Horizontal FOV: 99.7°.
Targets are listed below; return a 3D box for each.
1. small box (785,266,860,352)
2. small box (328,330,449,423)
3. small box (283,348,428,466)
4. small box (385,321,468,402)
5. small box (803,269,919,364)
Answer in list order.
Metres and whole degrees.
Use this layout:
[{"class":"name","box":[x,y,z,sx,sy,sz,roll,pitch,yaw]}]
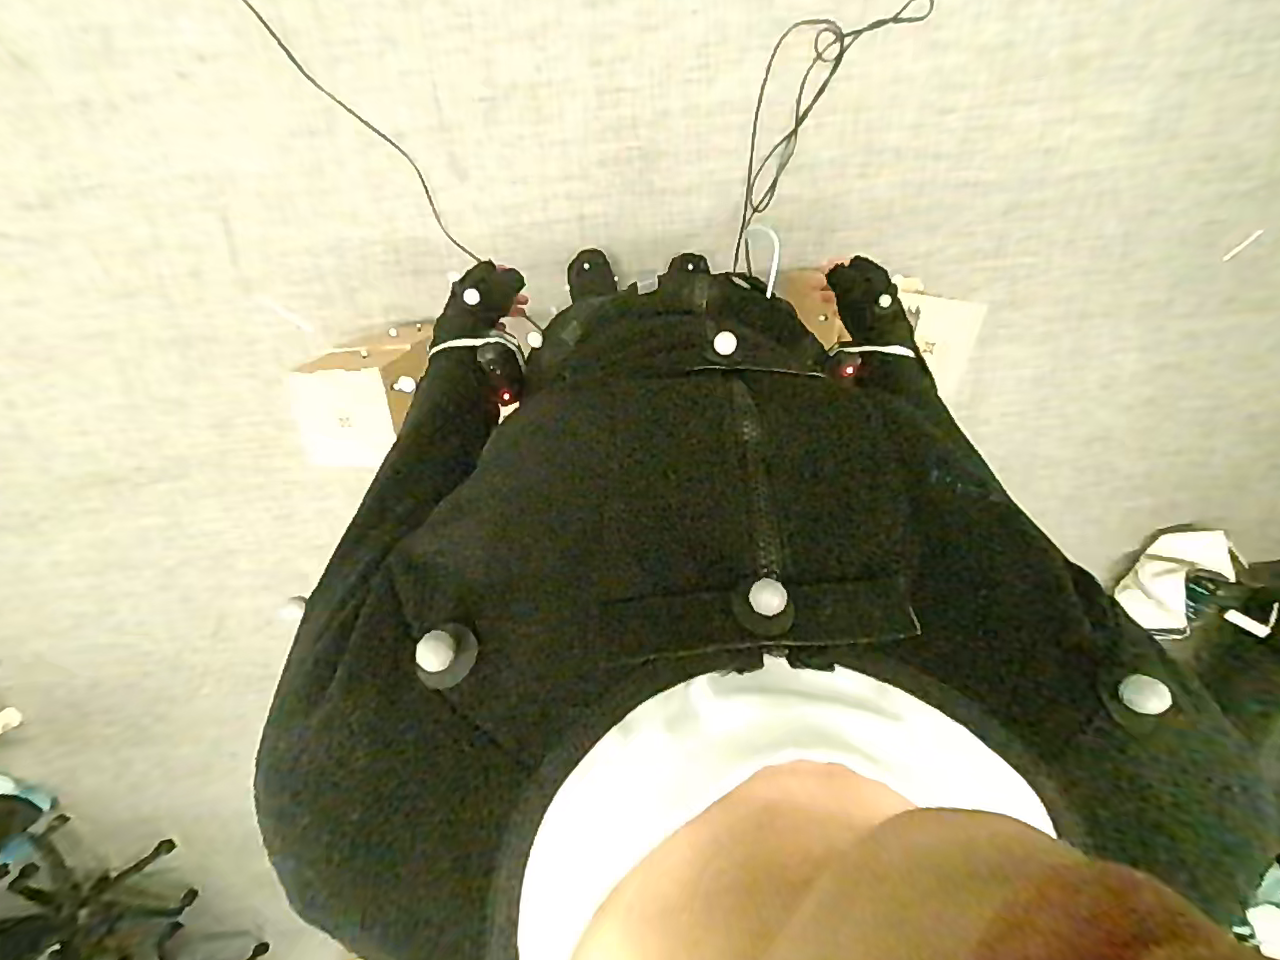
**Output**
[{"class":"small box","box":[0.454,-0.411,1.292,0.168,0.176,0.179,-1,115,-3]},{"class":"small box","box":[-0.524,-0.216,1.155,0.168,0.176,0.179,-4,114,-1]},{"class":"small box","box":[-0.515,-0.140,1.011,0.168,0.176,0.179,-4,114,-1]},{"class":"small box","box":[-0.524,-0.285,1.305,0.179,0.176,0.168,-4,115,-1]},{"class":"small box","box":[0.460,-0.354,1.156,0.168,0.176,0.179,-3,116,-3]}]
